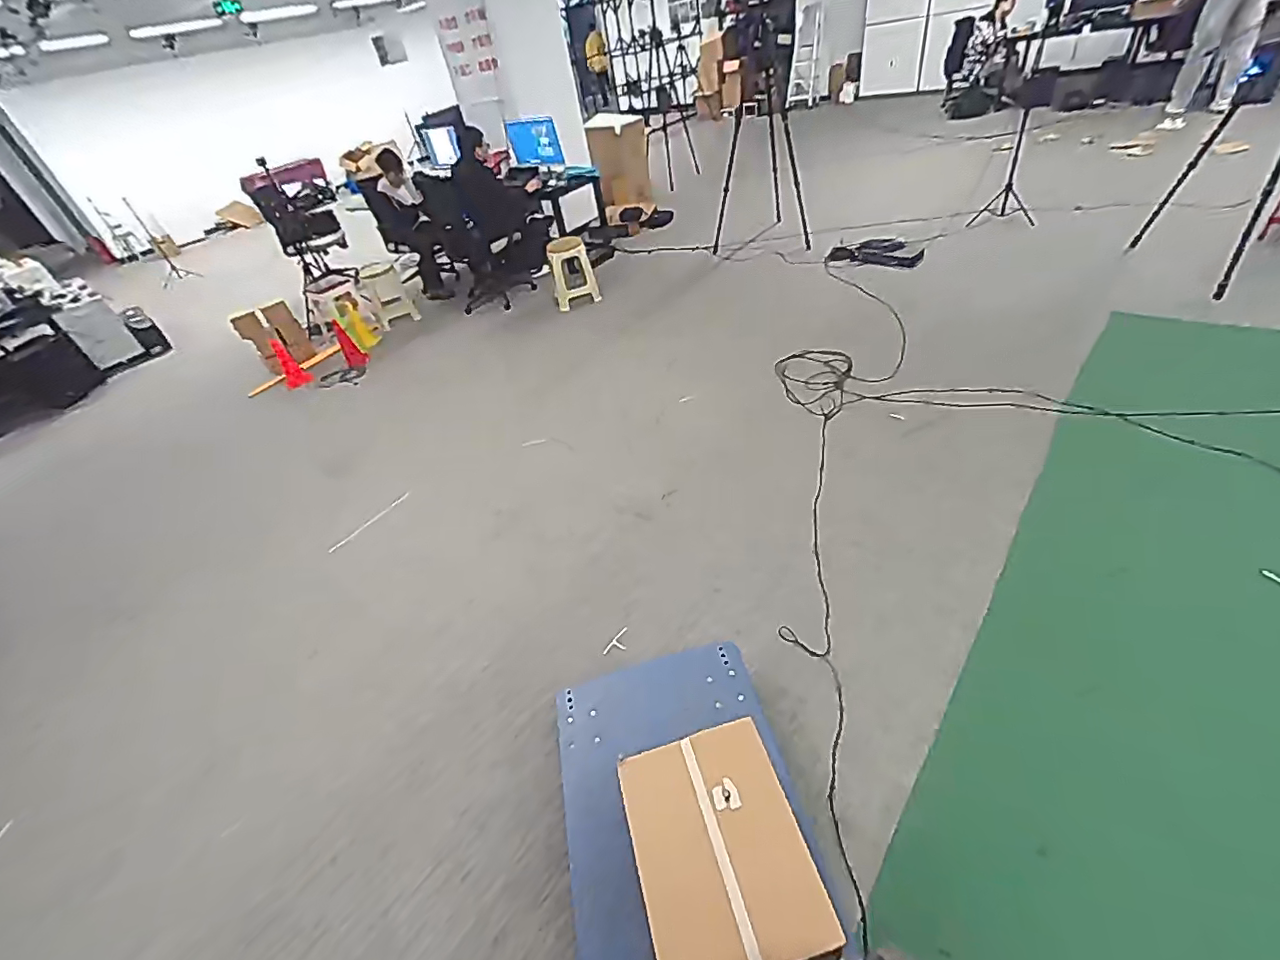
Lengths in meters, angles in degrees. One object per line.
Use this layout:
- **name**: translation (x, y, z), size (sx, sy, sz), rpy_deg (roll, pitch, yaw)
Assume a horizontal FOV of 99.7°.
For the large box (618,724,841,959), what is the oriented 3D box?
- **large box**: translation (0.173, 0.816, 1.133), size (0.320, 0.320, 0.408), rpy_deg (-16, 39, -5)
